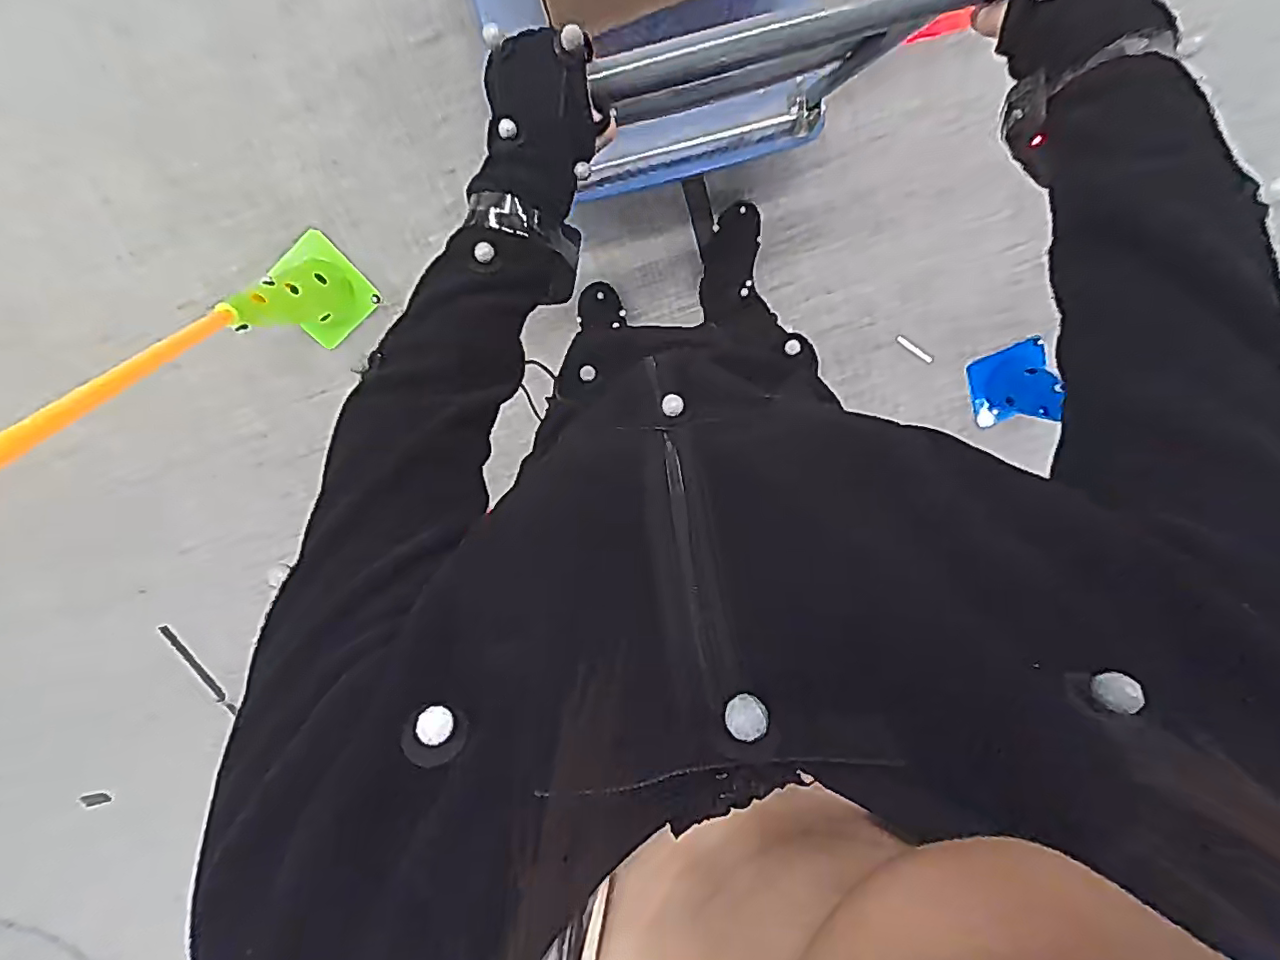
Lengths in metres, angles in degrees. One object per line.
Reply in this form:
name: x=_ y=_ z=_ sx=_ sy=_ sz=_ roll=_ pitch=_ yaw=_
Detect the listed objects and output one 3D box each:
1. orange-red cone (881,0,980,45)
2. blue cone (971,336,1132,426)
orange-red cone: x=0.586 y=-0.917 z=0.908 sx=0.199 sy=0.360 sz=0.198 roll=-13 pitch=116 yaw=1
blue cone: x=0.993 y=-0.196 z=1.287 sx=0.193 sy=0.380 sz=0.192 roll=-22 pitch=113 yaw=6
